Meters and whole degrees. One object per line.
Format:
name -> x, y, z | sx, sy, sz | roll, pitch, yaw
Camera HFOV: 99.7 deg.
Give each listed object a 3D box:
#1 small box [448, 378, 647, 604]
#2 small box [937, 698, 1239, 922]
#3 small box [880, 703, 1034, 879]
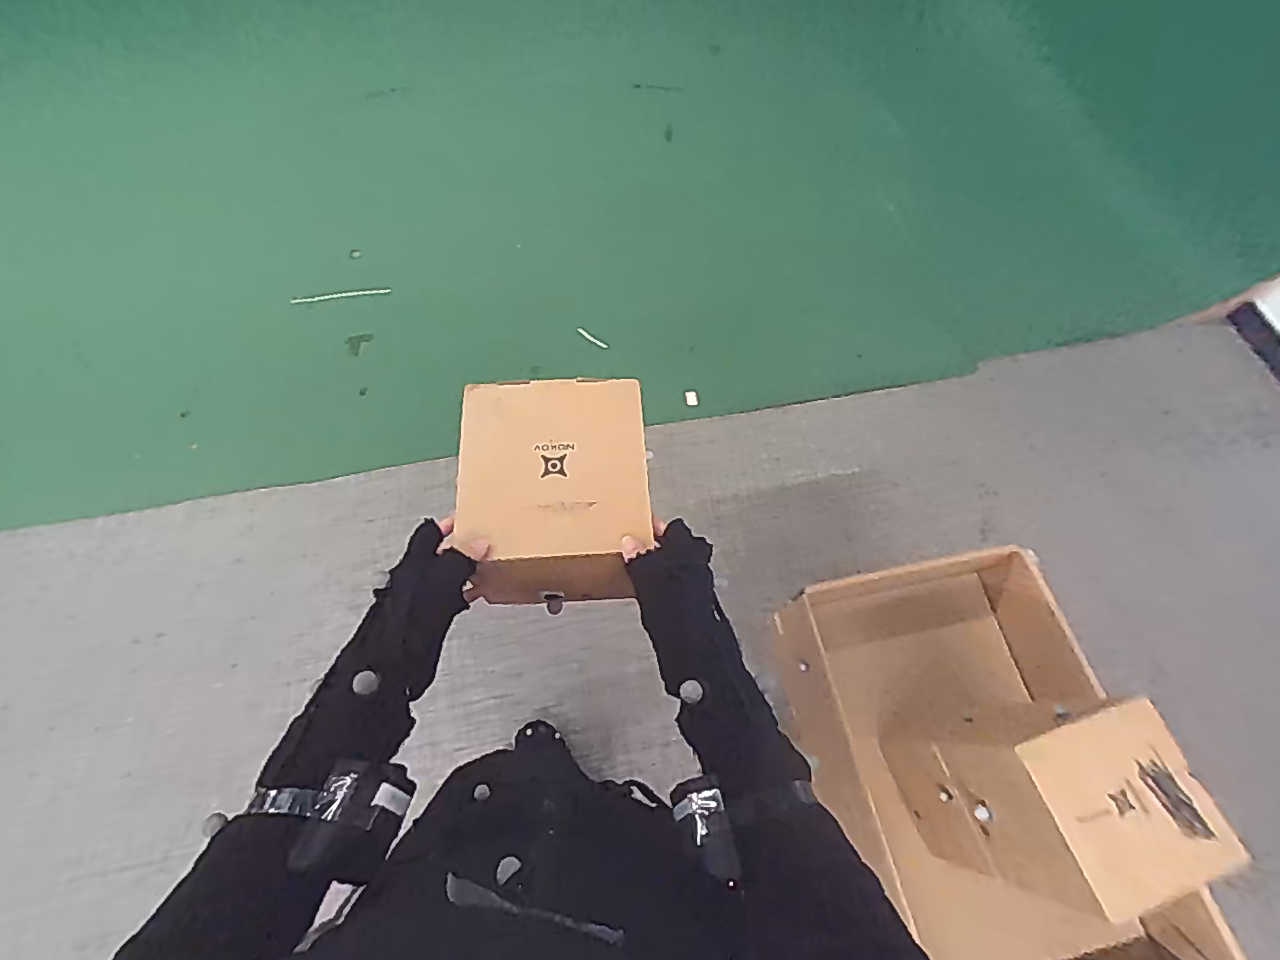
small box -> -0.087, 0.018, 0.553 | 0.168, 0.176, 0.179 | -4, 66, -4
small box -> 0.501, 0.369, 0.638 | 0.179, 0.176, 0.168 | -15, 66, -8
small box -> 0.493, 0.438, 0.787 | 0.179, 0.176, 0.168 | -16, 65, -10
